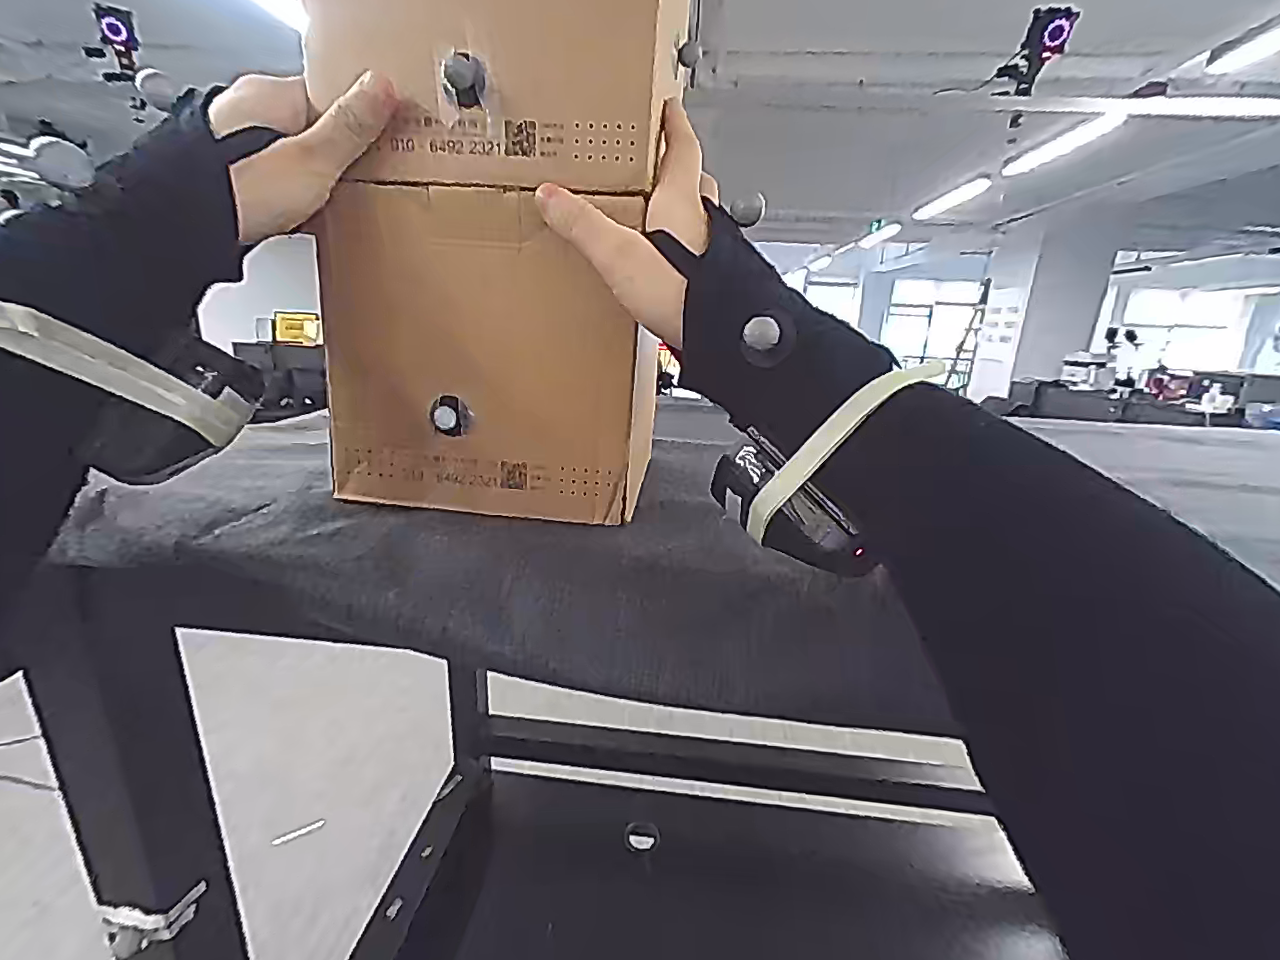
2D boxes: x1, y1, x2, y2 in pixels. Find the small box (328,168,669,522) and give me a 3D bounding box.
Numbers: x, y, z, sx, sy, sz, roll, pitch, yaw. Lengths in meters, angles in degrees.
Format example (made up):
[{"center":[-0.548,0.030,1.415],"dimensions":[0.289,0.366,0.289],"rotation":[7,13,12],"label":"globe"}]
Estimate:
[{"center":[-0.072,-0.083,0.357],"dimensions":[0.168,0.176,0.179],"rotation":[5,15,4],"label":"small box"}]
